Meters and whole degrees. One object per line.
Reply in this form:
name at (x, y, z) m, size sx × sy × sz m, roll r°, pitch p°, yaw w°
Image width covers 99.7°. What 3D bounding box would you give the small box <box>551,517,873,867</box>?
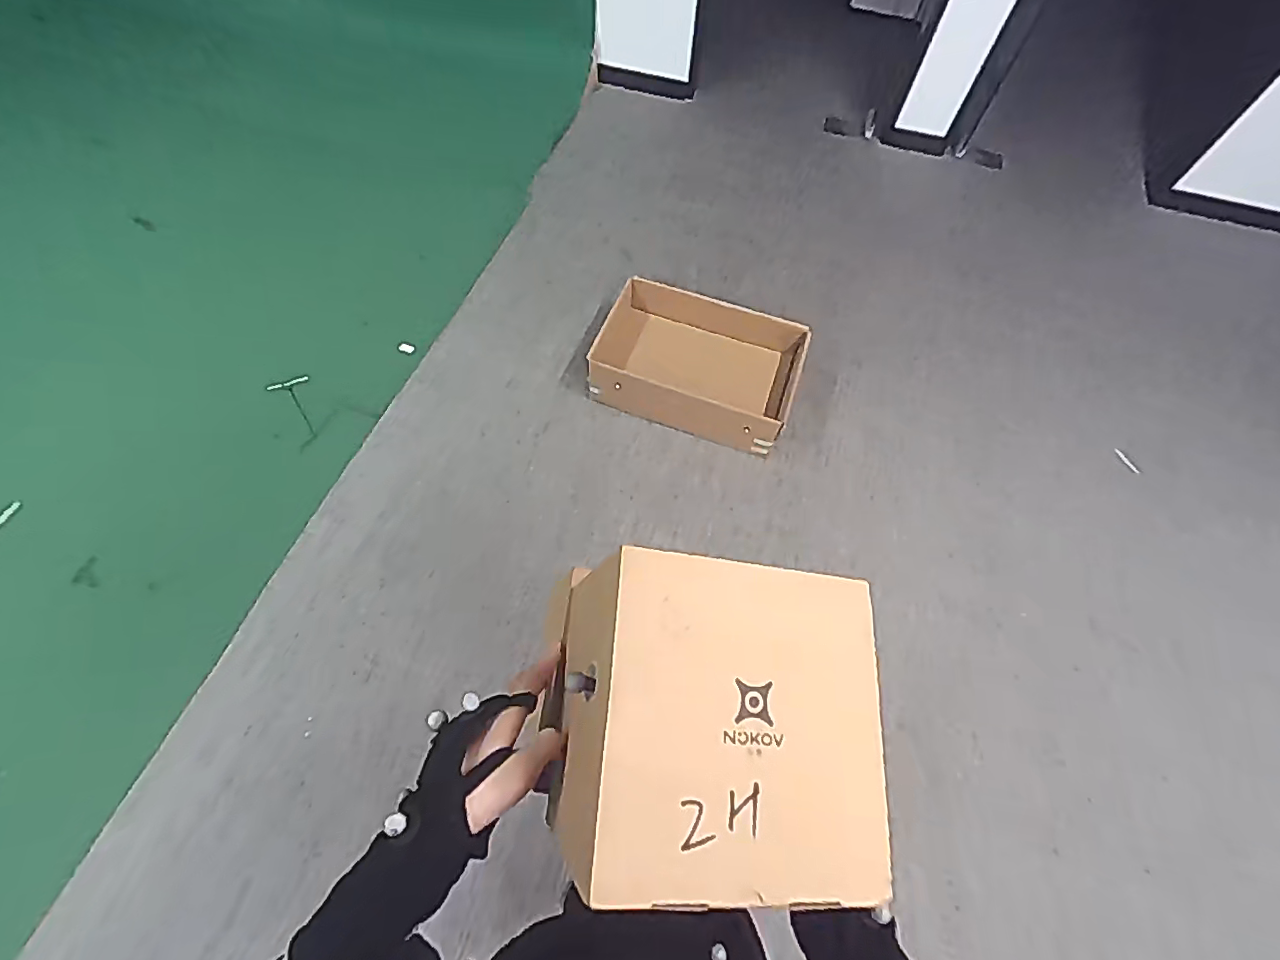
small box at (0.036, 0.142, 0.381) m, size 0.168 × 0.176 × 0.179 m, roll 10°, pitch 69°, yaw -12°
